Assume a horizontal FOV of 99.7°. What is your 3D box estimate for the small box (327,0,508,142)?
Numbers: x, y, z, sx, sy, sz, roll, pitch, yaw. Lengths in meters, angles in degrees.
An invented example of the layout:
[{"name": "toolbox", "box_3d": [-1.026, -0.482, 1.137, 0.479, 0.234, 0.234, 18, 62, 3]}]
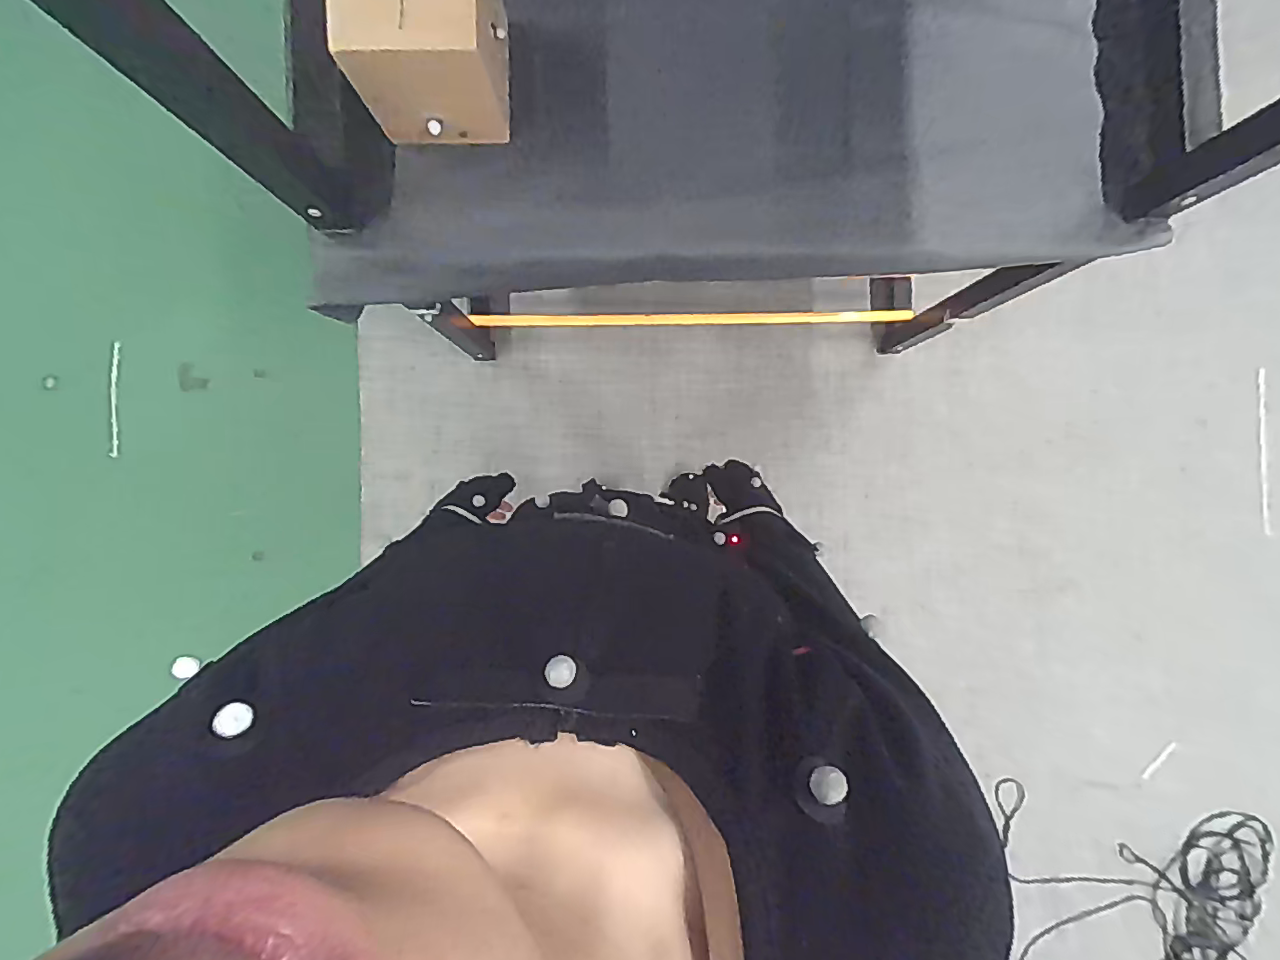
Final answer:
[{"name": "small box", "box_3d": [-0.265, -0.562, 0.677, 0.168, 0.176, 0.179, -1, 90, -2]}]
